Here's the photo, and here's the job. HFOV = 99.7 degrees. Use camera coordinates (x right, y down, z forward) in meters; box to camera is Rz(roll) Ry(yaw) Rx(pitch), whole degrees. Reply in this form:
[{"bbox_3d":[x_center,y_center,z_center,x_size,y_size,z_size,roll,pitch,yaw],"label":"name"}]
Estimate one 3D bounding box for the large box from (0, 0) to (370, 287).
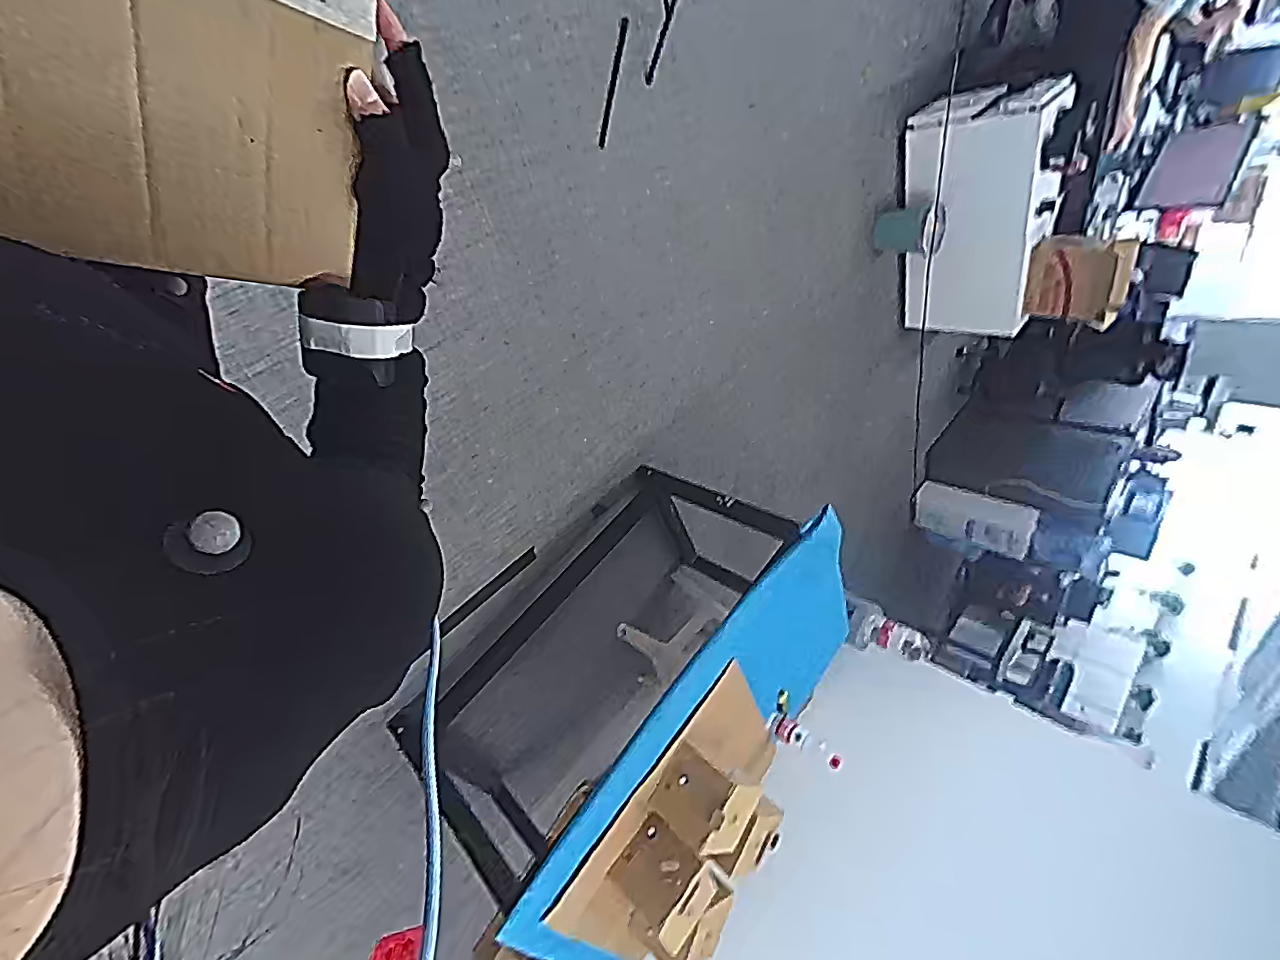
[{"bbox_3d":[-0.390,-0.326,0.261,0.408,0.320,0.320,-7,133,-42],"label":"large box"}]
